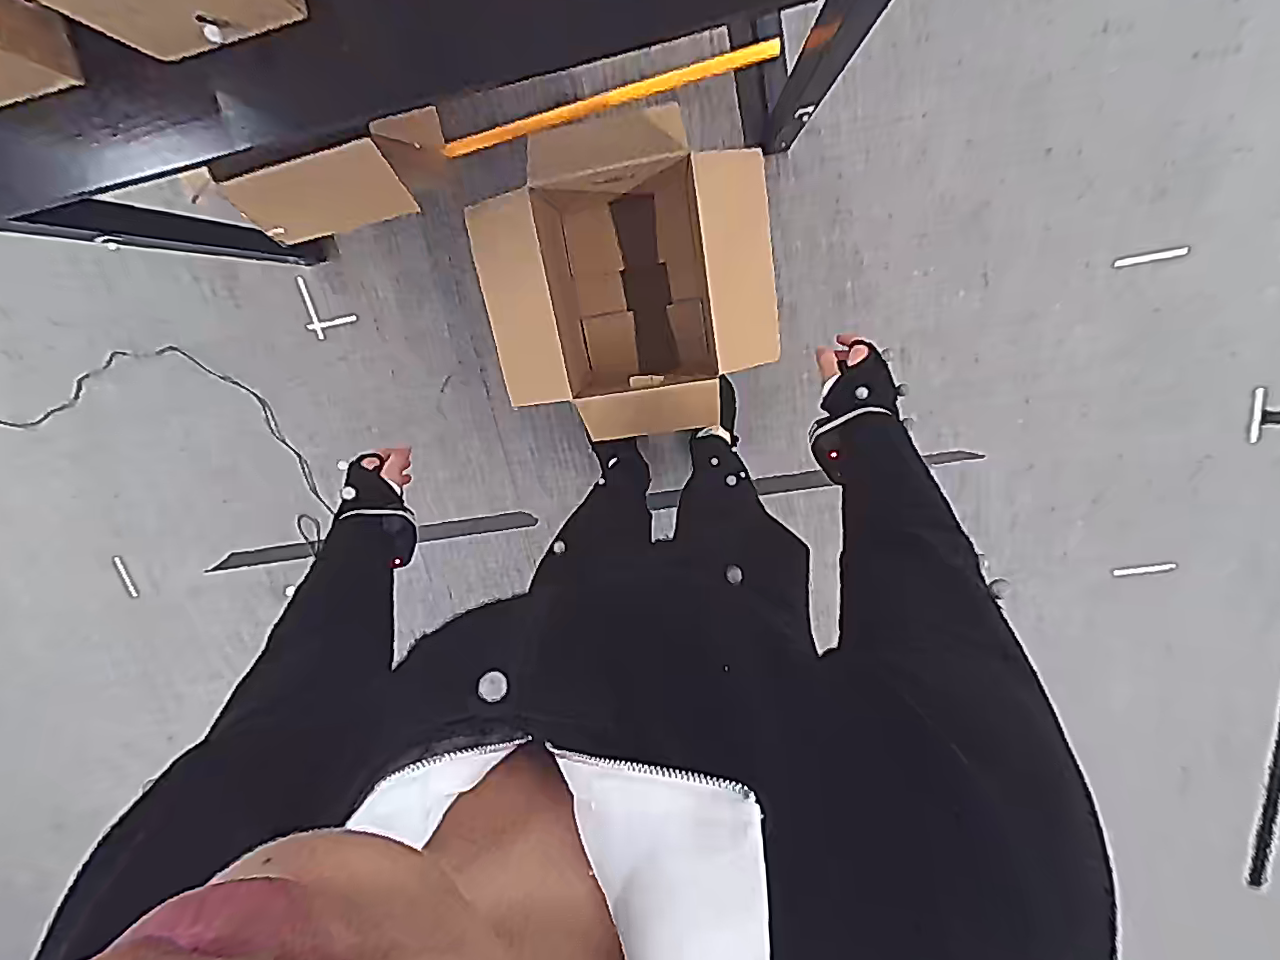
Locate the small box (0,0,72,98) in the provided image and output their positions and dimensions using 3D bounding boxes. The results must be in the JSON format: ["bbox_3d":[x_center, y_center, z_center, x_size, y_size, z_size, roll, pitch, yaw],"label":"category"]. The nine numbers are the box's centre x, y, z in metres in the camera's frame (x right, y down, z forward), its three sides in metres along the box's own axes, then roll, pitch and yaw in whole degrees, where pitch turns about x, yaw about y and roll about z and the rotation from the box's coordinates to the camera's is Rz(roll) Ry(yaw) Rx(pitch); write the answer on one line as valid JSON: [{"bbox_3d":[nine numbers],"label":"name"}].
[{"bbox_3d":[-0.706,-0.468,0.492,0.179,0.176,0.168,-8,107,5],"label":"small box"}]

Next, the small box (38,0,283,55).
[{"bbox_3d":[-0.448,-0.512,0.464,0.179,0.176,0.168,-12,106,5],"label":"small box"}]
